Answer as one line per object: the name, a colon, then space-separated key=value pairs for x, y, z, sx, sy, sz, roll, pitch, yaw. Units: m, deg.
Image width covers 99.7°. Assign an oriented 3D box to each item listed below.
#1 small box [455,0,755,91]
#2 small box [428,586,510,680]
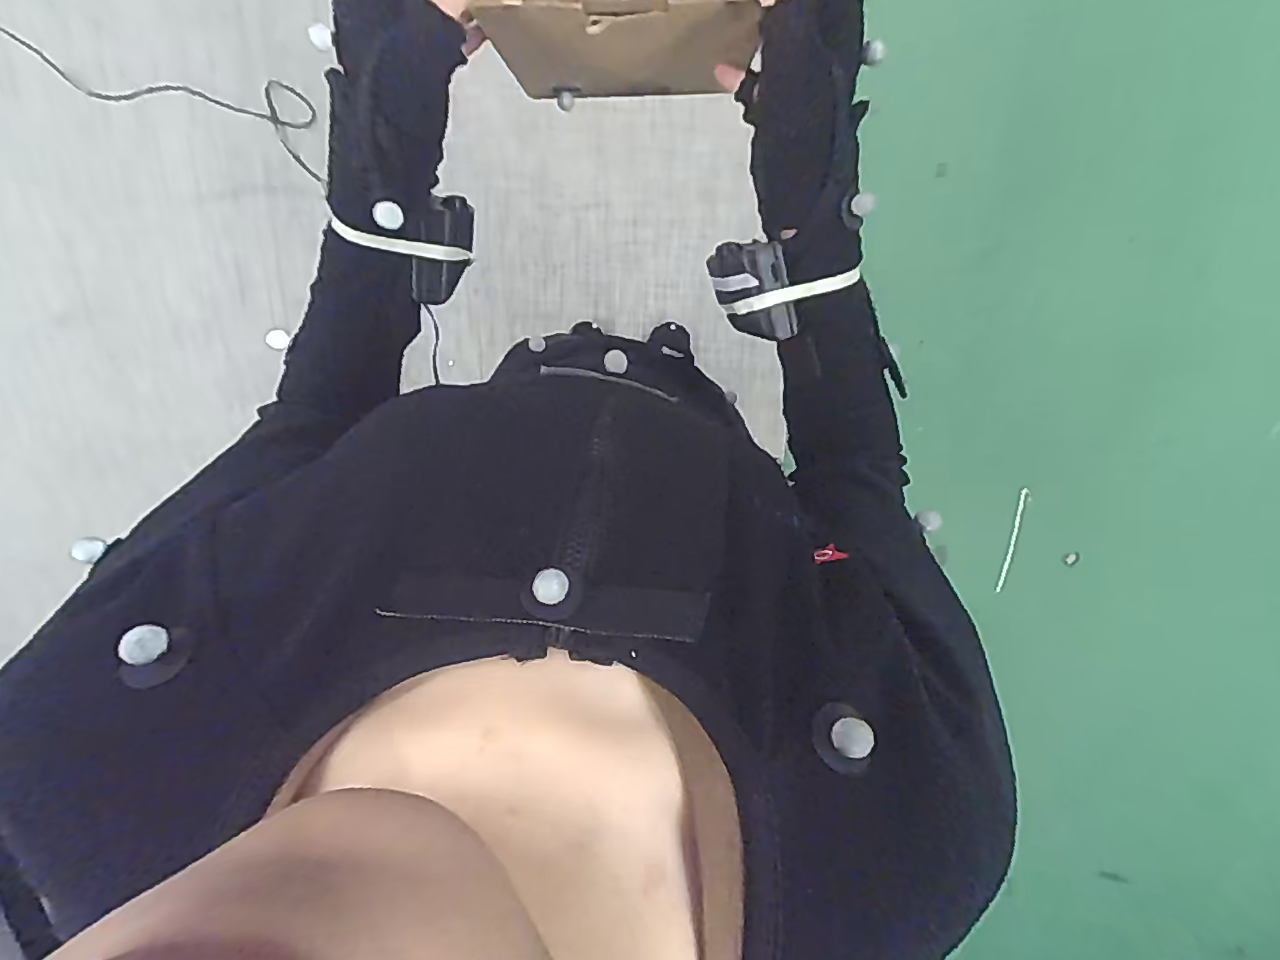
small box: x=-0.013 y=-0.352 z=0.316 sx=0.168 sy=0.176 sz=0.179 roll=0 pitch=110 yaw=1
small box: x=-0.452 y=0.407 z=1.456 sx=0.168 sy=0.176 sz=0.179 roll=4 pitch=105 yaw=2
